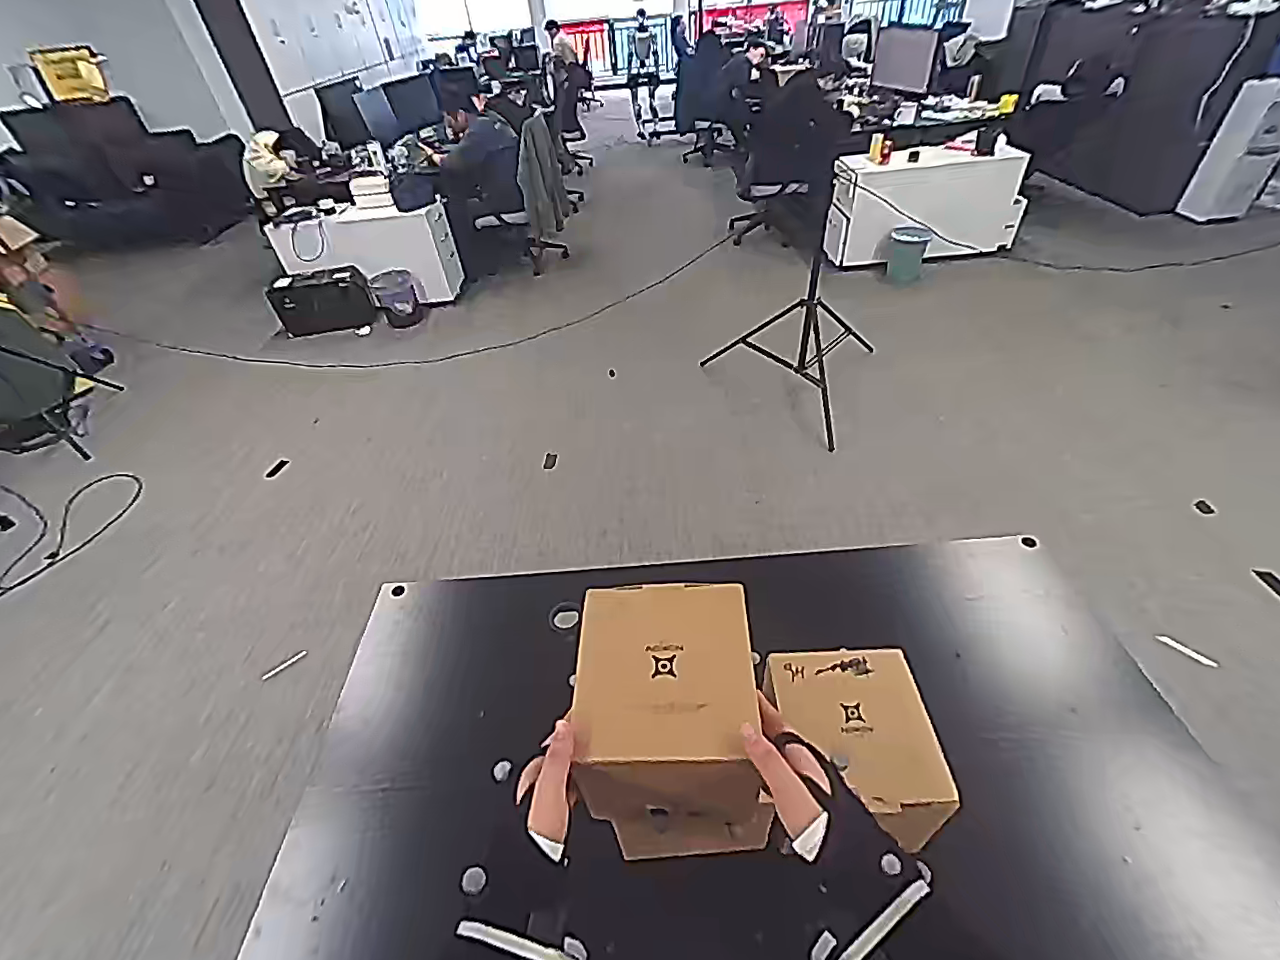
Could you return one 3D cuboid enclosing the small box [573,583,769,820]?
[{"bbox_3d":[0.033,0.228,0.560,0.168,0.176,0.179,-5,45,4],"label":"small box"}]
